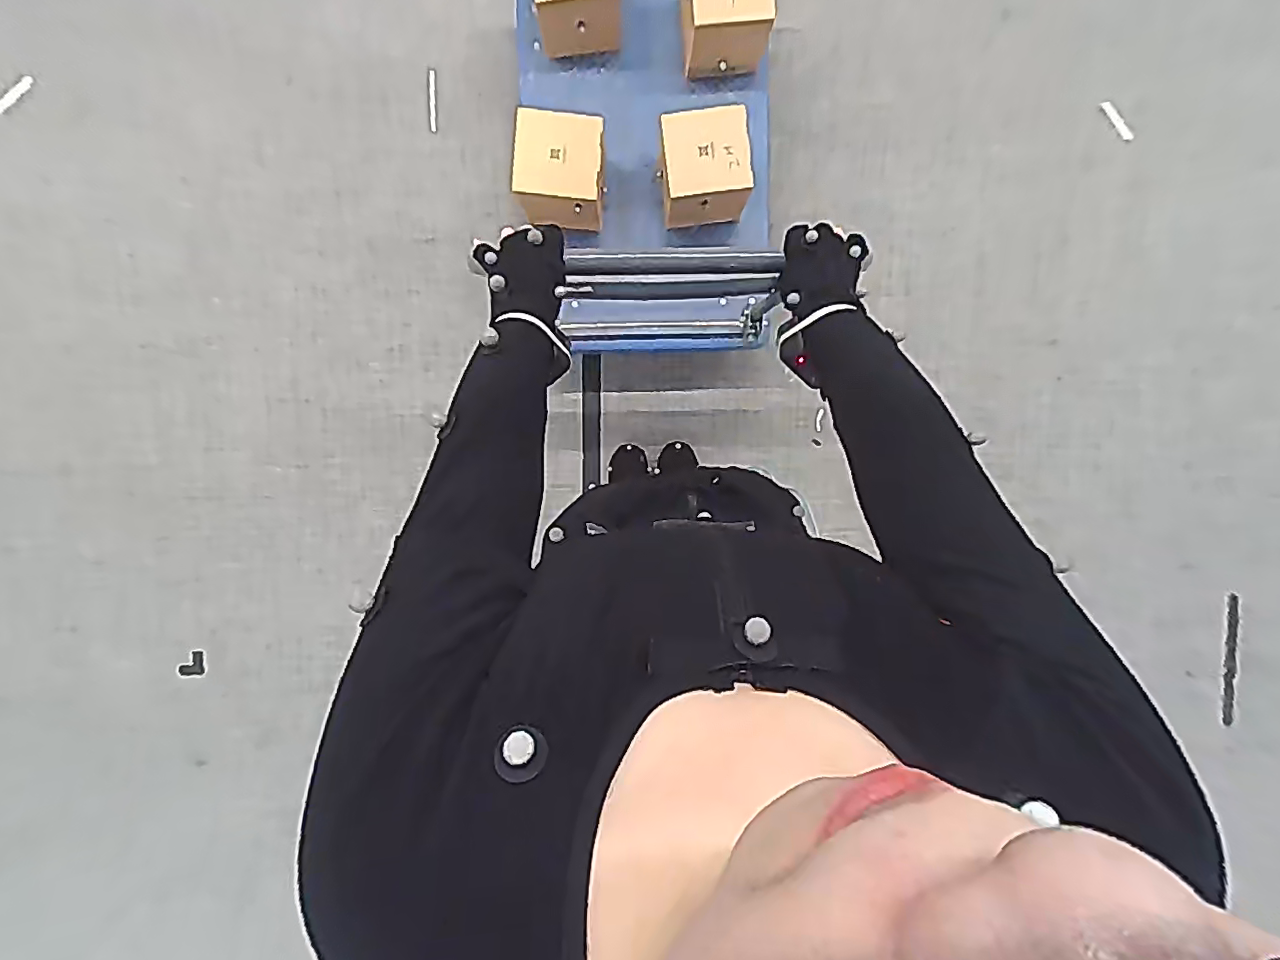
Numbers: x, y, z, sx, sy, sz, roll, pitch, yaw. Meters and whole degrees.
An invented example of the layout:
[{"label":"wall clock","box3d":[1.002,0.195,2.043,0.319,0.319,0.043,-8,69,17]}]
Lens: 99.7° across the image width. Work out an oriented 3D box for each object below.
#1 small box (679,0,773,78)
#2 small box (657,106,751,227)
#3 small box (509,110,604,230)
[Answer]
[{"label":"small box","box3d":[0.175,-1.001,1.146,0.168,0.176,0.179,-5,96,0]},{"label":"small box","box3d":[0.131,-0.667,1.173,0.179,0.176,0.168,-7,95,0]},{"label":"small box","box3d":[-0.174,-0.660,1.170,0.179,0.176,0.168,5,95,-3]}]
